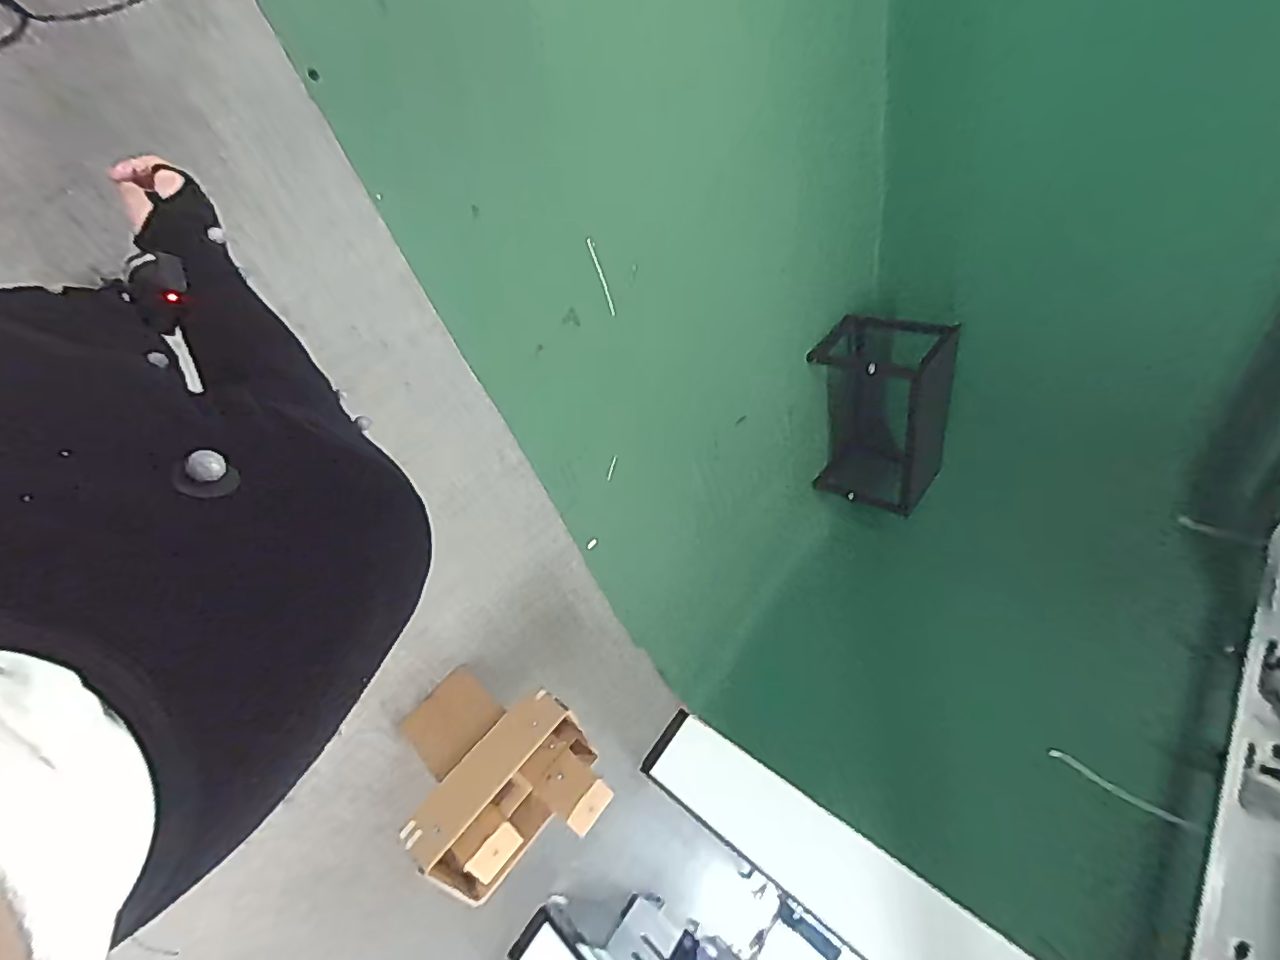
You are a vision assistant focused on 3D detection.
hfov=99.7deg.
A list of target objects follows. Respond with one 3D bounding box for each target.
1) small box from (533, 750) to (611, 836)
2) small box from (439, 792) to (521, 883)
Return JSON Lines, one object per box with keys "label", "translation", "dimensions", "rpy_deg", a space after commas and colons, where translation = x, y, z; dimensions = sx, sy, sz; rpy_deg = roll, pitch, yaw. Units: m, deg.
{"label": "small box", "translation": [-0.230, 1.057, 1.835], "dimensions": [0.168, 0.176, 0.179], "rpy_deg": [-46, 137, -27]}
{"label": "small box", "translation": [-0.535, 1.186, 1.804], "dimensions": [0.168, 0.176, 0.179], "rpy_deg": [-42, 134, -29]}
